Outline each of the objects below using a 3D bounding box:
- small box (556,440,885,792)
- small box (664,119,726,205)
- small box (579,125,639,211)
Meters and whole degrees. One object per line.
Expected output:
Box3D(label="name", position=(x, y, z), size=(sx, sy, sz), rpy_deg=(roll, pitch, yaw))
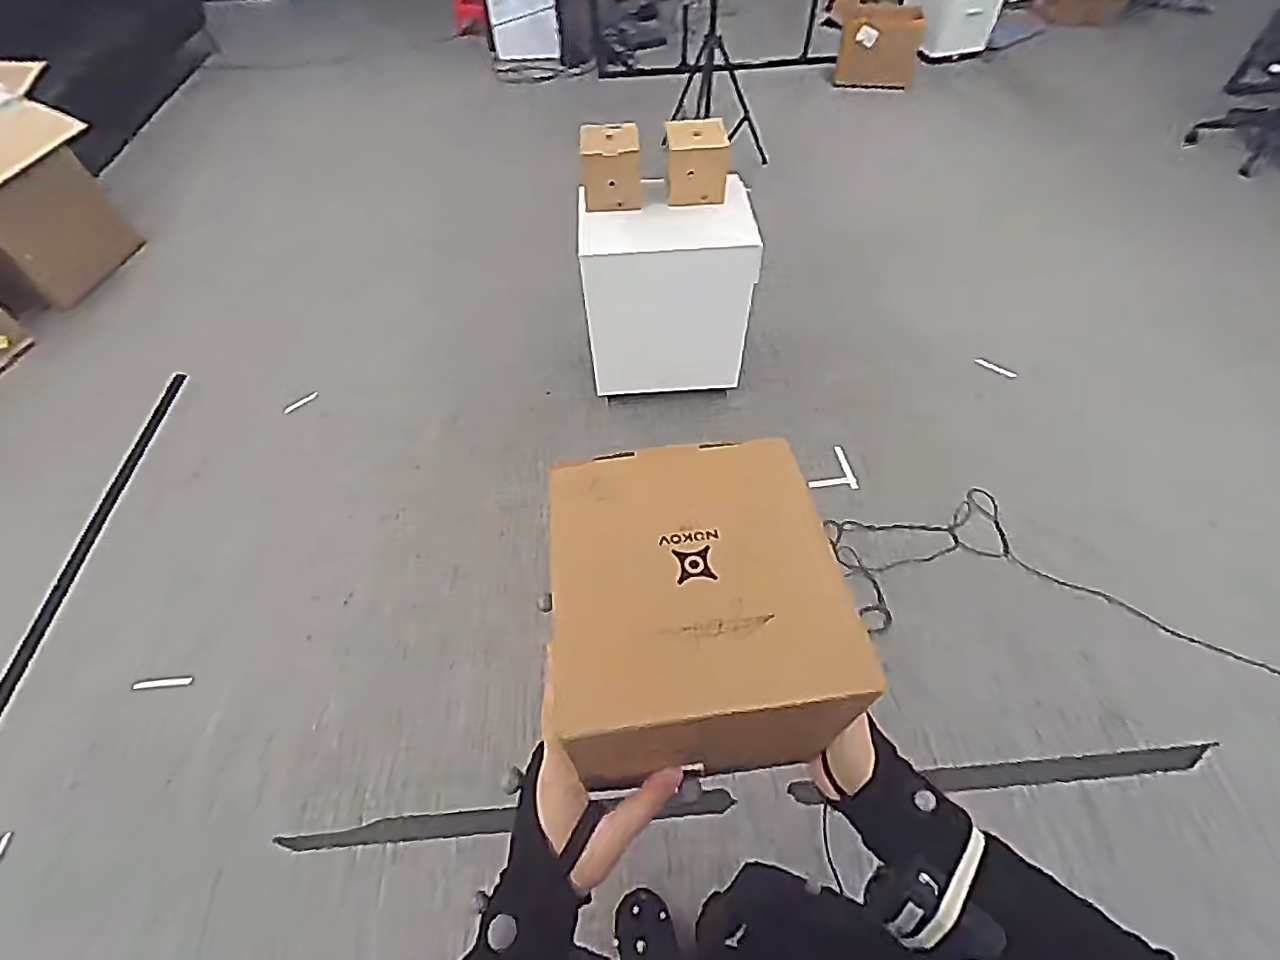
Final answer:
Box3D(label="small box", position=(0.034, 0.097, 0.380), size=(0.168, 0.176, 0.179), rpy_deg=(-7, 52, -3))
Box3D(label="small box", position=(0.160, -0.939, 1.611), size=(0.168, 0.176, 0.179), rpy_deg=(-4, 56, 0))
Box3D(label="small box", position=(-0.091, -0.919, 1.604), size=(0.168, 0.176, 0.179), rpy_deg=(-3, 57, -2))
